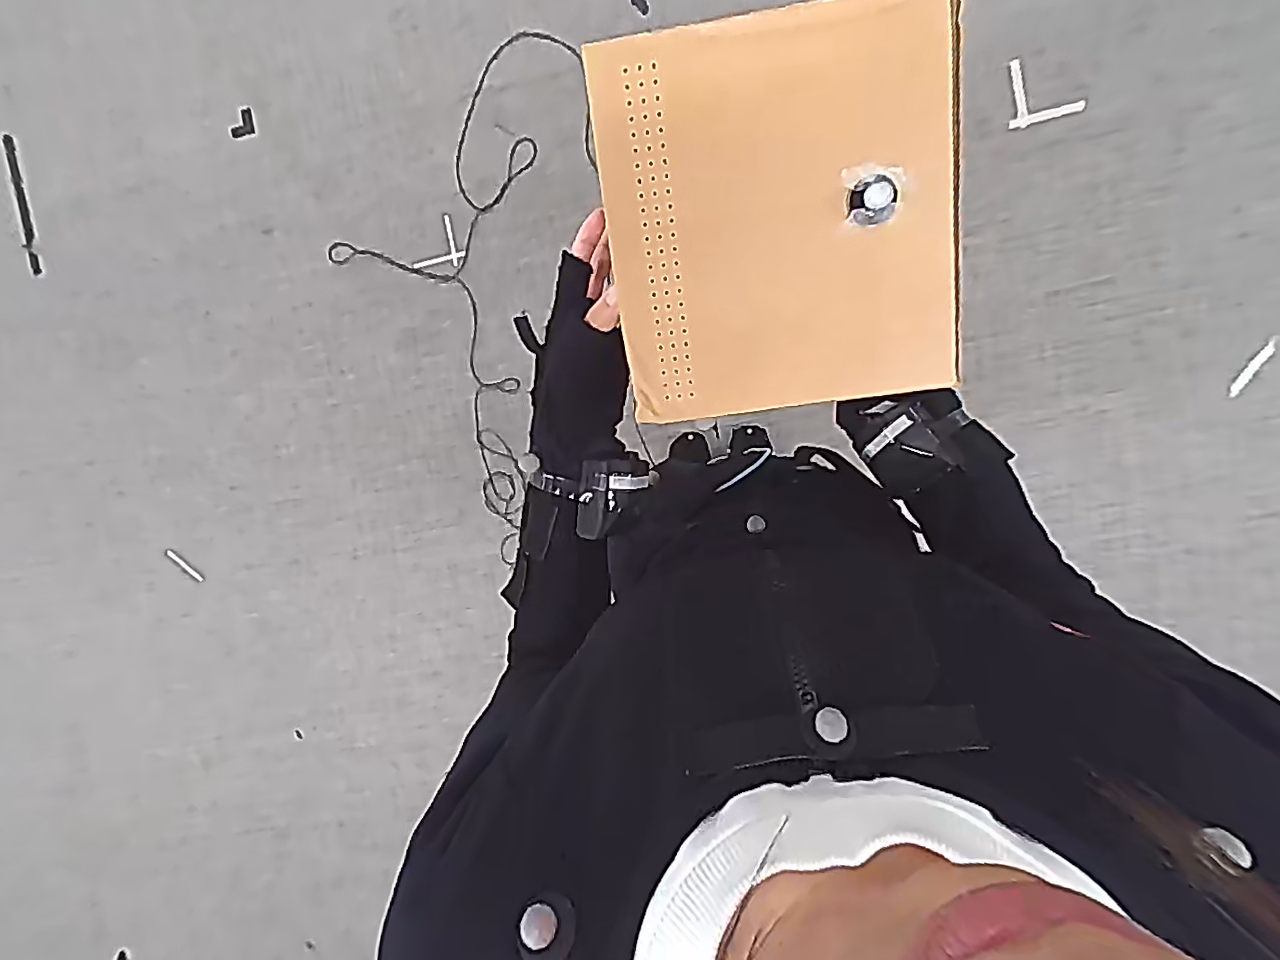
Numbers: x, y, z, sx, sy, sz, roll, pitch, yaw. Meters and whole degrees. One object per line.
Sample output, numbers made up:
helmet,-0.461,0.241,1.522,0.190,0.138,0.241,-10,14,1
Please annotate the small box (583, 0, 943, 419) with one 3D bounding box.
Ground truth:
small box,0.065,-0.145,0.345,0.176,0.168,0.179,-7,105,5
